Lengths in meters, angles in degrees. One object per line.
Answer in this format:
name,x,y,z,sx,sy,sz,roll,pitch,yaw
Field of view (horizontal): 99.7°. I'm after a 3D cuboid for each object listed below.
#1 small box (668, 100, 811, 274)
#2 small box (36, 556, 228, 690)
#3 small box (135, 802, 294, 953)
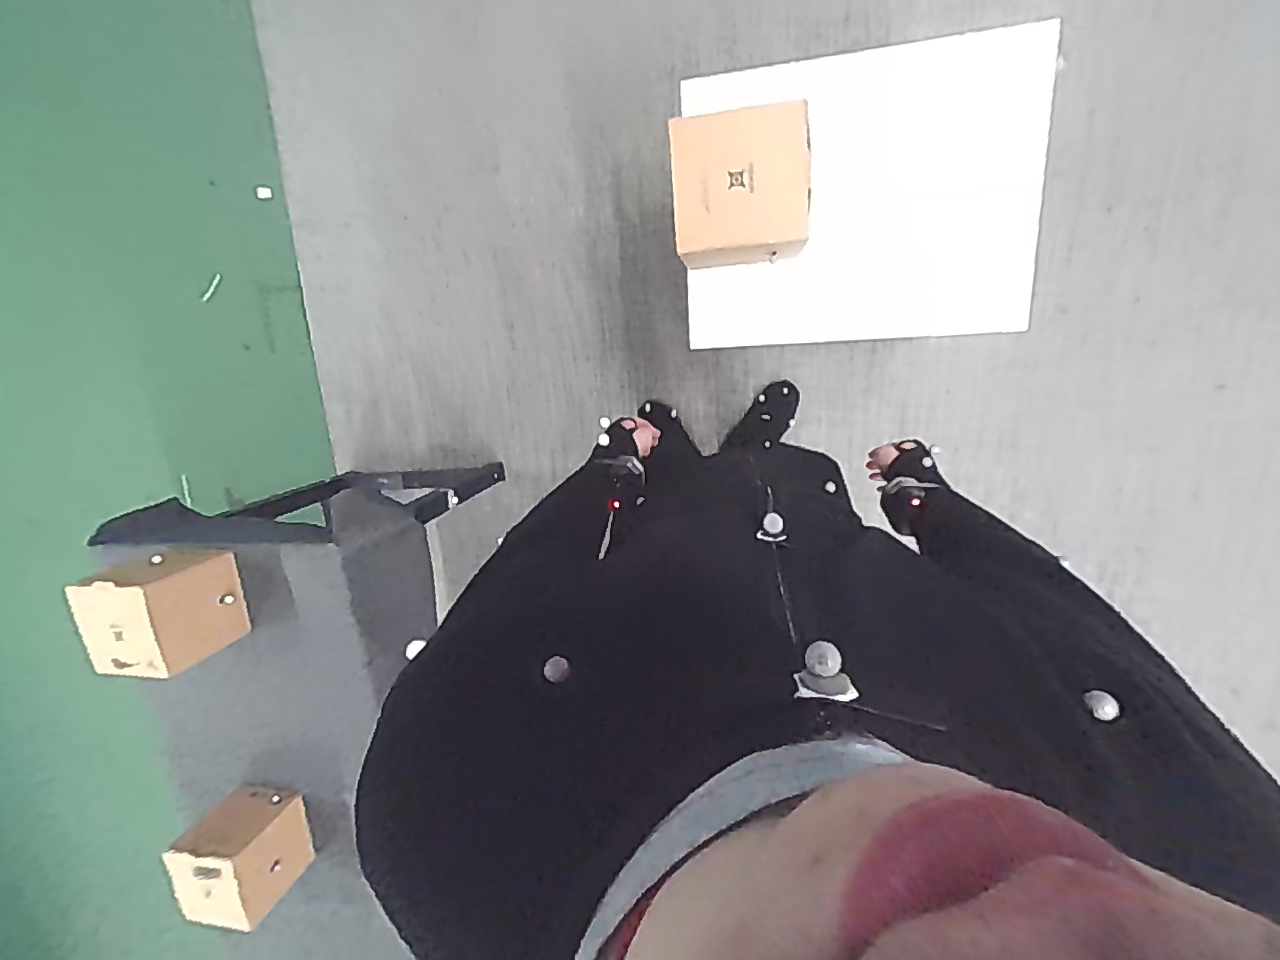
small box,0.138,-0.394,0.759,0.179,0.176,0.168,-2,102,11
small box,-0.886,0.244,0.961,0.168,0.176,0.179,0,103,10
small box,-0.842,0.787,1.087,0.168,0.176,0.179,0,104,11
